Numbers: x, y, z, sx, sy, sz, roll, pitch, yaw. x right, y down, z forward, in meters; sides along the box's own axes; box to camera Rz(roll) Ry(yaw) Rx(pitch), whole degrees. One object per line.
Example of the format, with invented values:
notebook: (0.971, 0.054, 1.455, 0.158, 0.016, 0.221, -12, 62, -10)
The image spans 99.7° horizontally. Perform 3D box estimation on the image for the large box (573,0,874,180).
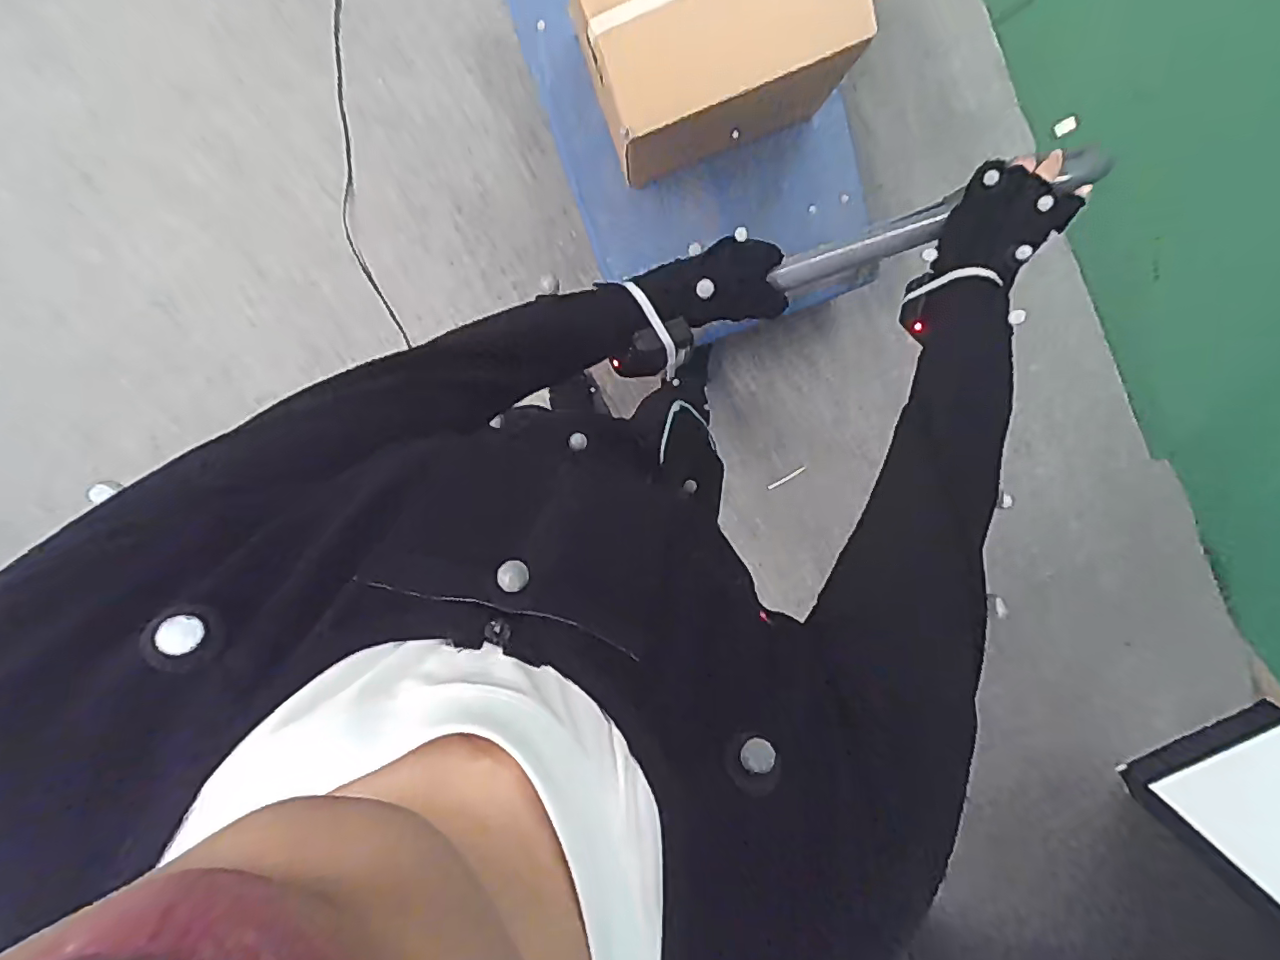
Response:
large box: (0.119, -0.789, 0.940, 0.408, 0.320, 0.320, -20, 105, 6)
